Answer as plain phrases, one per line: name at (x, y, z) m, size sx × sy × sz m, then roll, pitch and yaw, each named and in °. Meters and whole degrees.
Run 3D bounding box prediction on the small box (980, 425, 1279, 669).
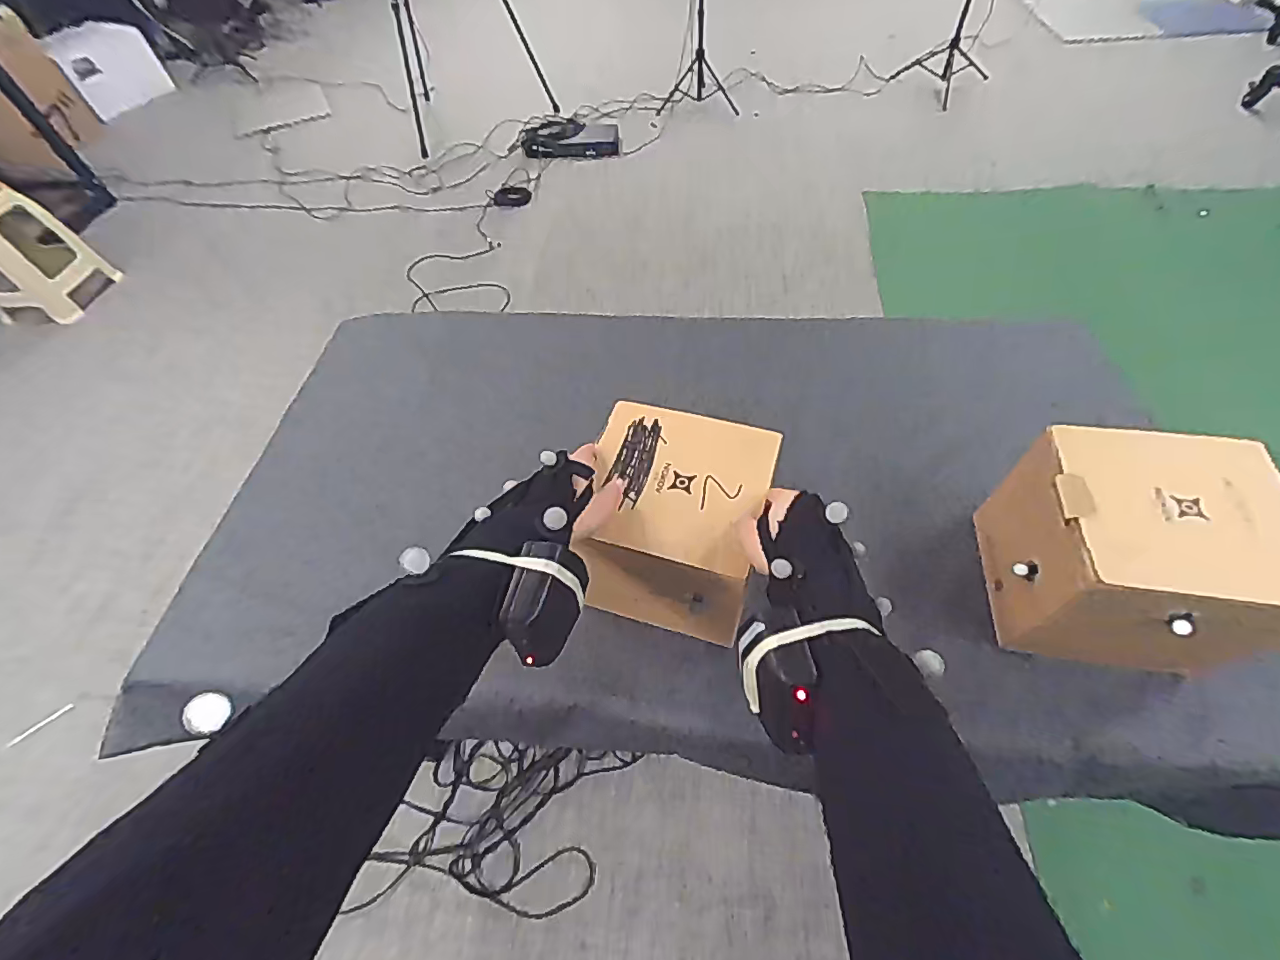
small box at (0.456, 0.069, 0.519) m, size 0.179 × 0.176 × 0.168 m, roll 7°, pitch 57°, yaw 9°
